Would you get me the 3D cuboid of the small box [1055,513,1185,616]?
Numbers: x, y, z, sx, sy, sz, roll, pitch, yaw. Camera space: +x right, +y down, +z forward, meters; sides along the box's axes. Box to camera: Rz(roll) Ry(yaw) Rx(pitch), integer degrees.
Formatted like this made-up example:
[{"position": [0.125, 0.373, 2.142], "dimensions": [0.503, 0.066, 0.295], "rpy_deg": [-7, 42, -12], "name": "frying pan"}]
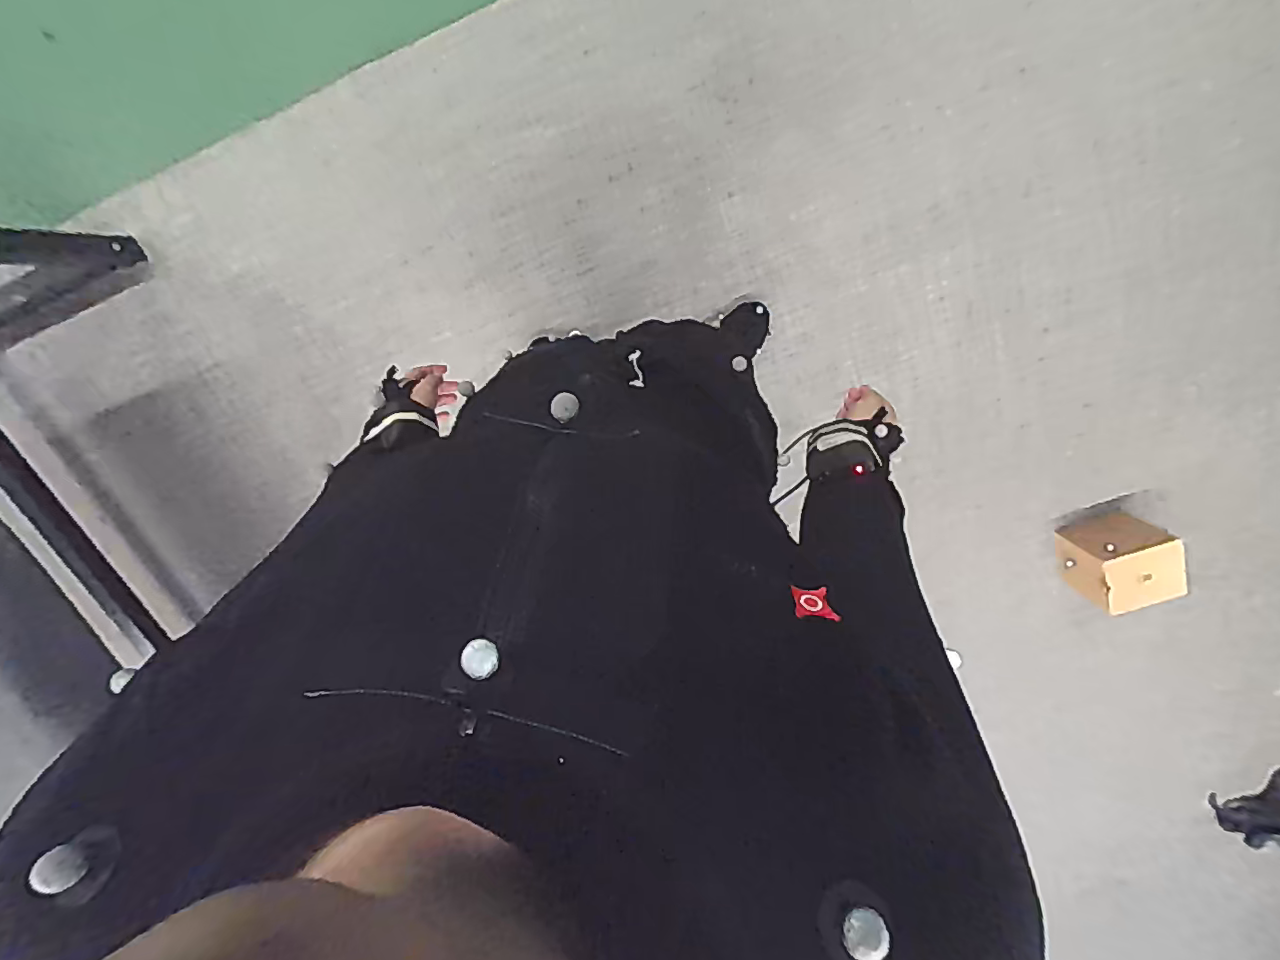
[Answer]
[{"position": [1.193, 0.204, 1.352], "dimensions": [0.179, 0.176, 0.168], "rpy_deg": [-21, 109, 10], "name": "small box"}]
